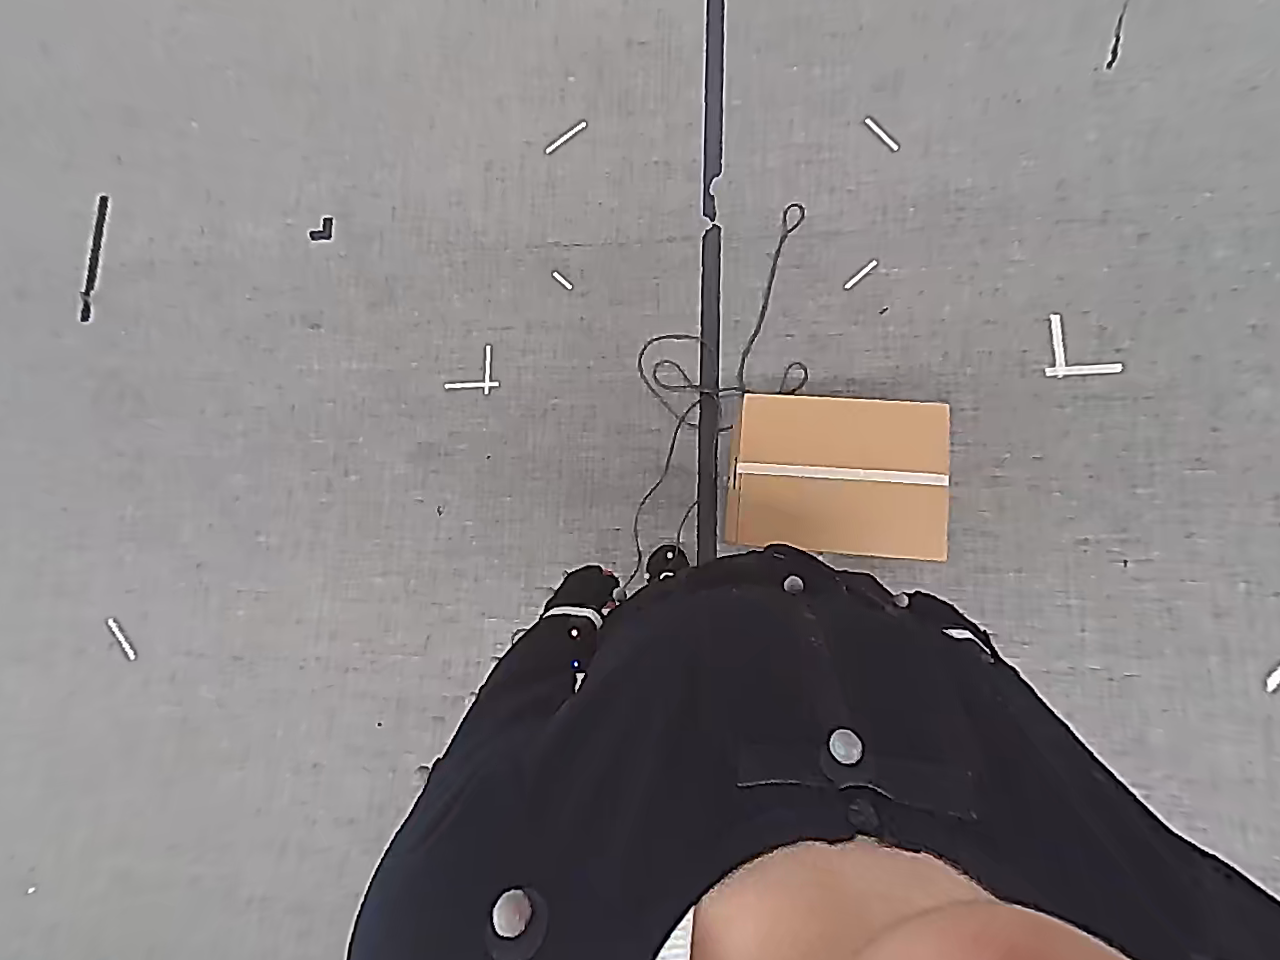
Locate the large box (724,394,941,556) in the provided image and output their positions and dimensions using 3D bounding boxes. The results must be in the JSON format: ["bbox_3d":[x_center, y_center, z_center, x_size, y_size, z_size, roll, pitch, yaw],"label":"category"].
[{"bbox_3d":[0.406,0.002,1.232,0.408,0.320,0.320,4,85,6],"label":"large box"}]
